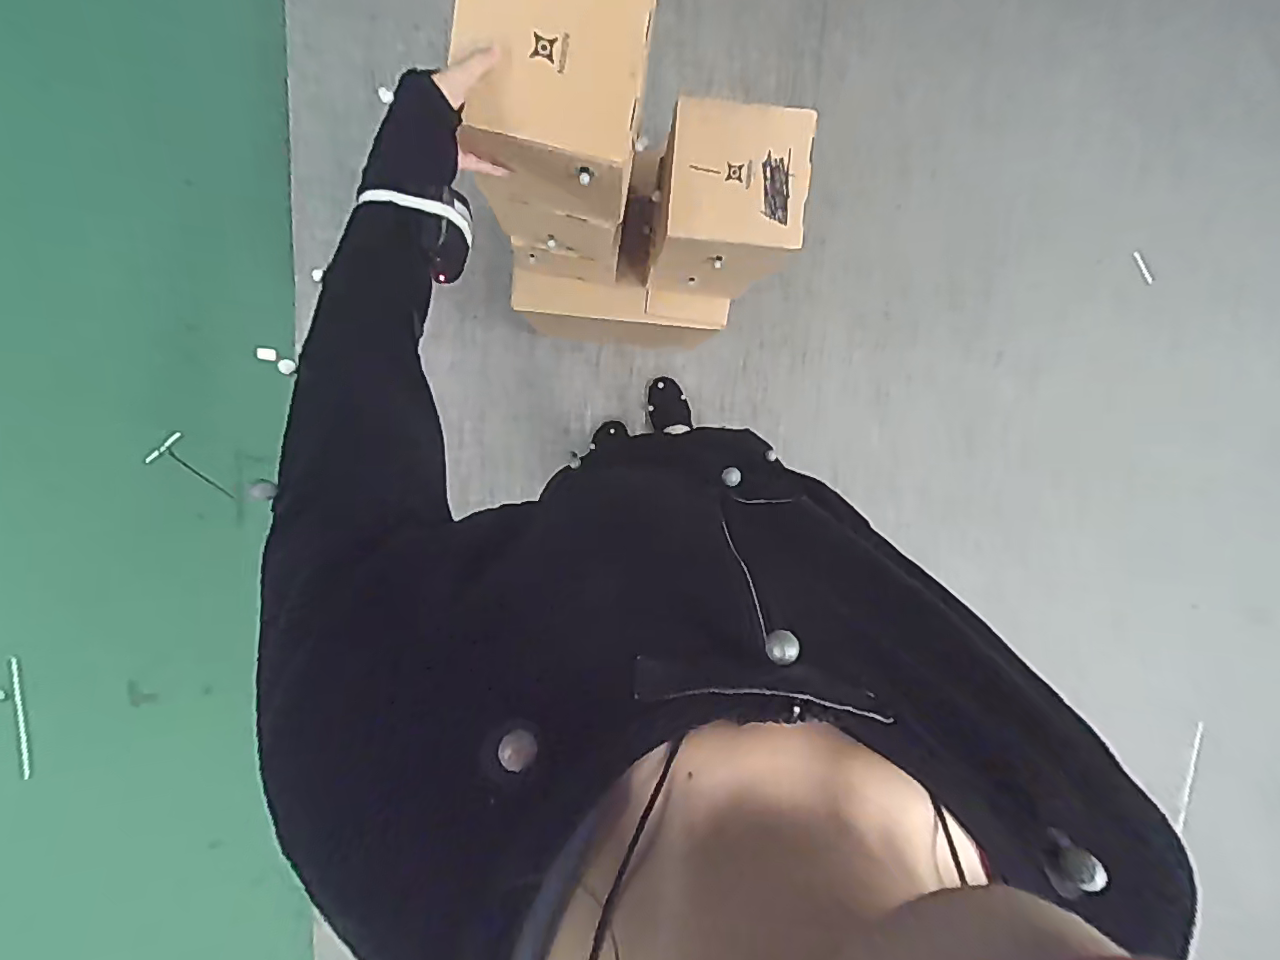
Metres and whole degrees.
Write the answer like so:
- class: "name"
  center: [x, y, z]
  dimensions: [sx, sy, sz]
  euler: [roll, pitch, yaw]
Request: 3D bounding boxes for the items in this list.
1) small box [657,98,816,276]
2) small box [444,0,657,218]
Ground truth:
- class: "small box"
  center: [0.122, -0.390, 0.751]
  dimensions: [0.179, 0.176, 0.168]
  euler: [4, 98, -2]
- class: "small box"
  center: [-0.088, -0.403, 0.576]
  dimensions: [0.179, 0.176, 0.168]
  euler: [10, 97, -6]
